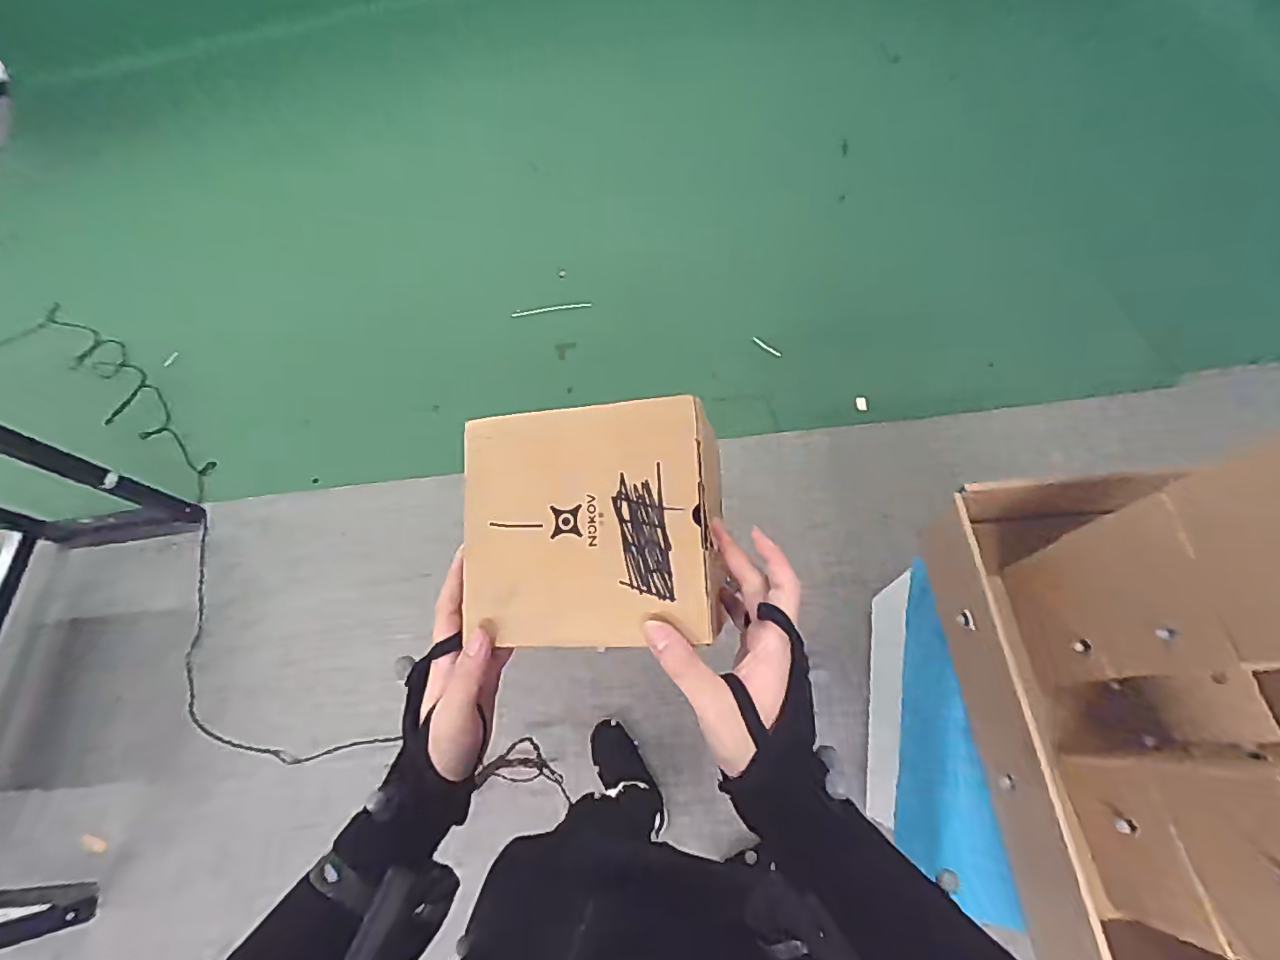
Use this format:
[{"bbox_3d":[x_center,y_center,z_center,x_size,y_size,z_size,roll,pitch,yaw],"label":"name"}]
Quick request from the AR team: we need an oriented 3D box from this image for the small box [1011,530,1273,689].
[{"bbox_3d":[0.648,0.181,0.731,0.168,0.176,0.179,-6,67,5],"label":"small box"}]

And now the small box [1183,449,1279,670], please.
[{"bbox_3d":[0.609,0.051,0.431,0.168,0.176,0.179,-5,67,6],"label":"small box"}]

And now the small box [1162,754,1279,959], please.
[{"bbox_3d":[0.635,0.341,0.473,0.168,0.176,0.179,-10,64,4],"label":"small box"}]

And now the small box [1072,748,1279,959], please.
[{"bbox_3d":[0.654,0.413,0.619,0.168,0.176,0.179,-8,63,4],"label":"small box"}]
